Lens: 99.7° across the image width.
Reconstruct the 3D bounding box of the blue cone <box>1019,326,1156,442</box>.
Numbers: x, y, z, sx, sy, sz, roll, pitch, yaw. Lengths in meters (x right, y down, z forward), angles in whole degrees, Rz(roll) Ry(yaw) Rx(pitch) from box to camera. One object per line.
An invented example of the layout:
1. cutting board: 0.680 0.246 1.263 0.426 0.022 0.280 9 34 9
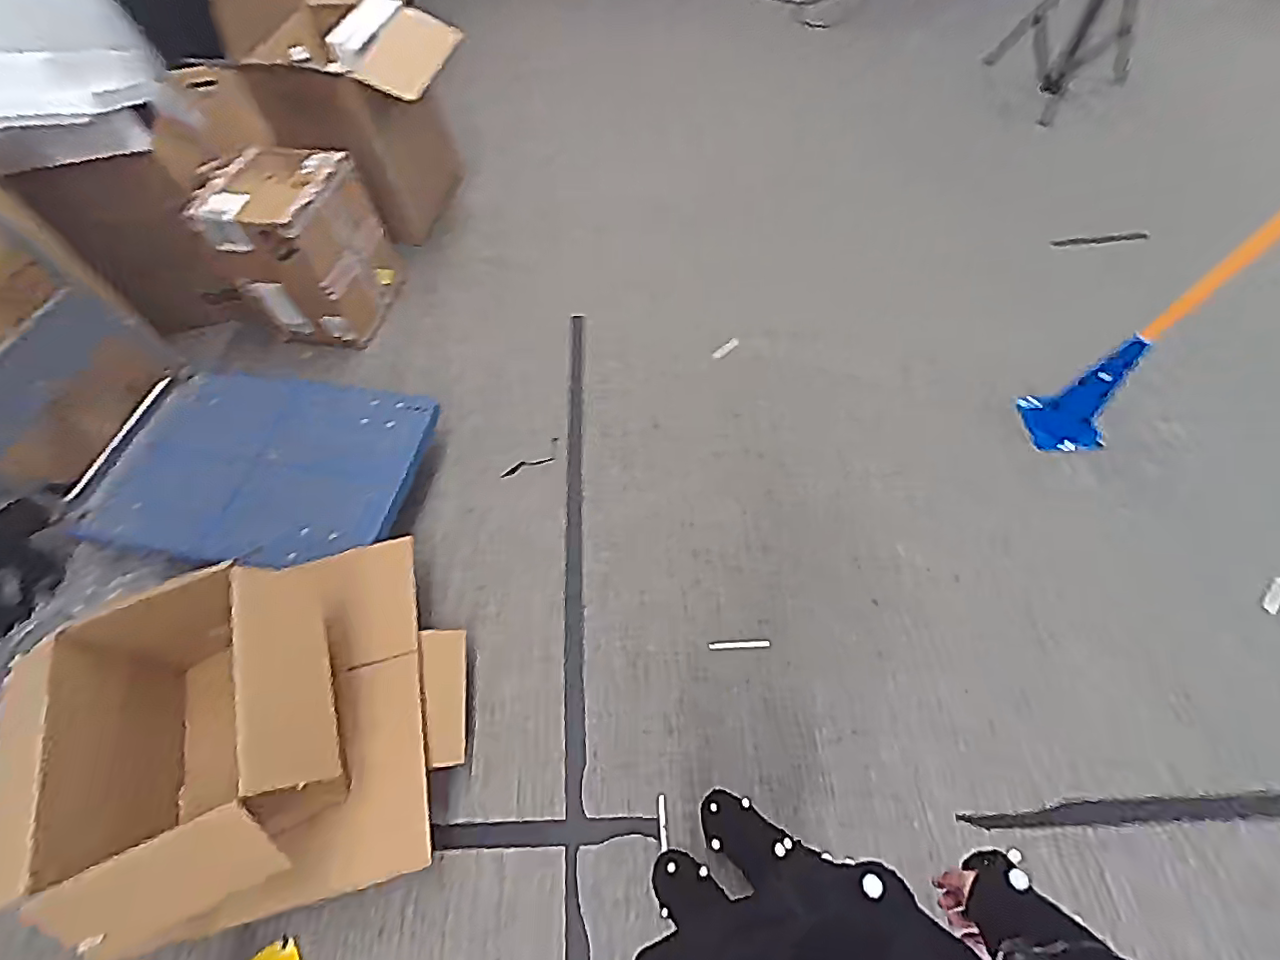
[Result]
1. blue cone: 1.263 -0.278 1.505 0.192 0.380 0.193 -1 60 2
